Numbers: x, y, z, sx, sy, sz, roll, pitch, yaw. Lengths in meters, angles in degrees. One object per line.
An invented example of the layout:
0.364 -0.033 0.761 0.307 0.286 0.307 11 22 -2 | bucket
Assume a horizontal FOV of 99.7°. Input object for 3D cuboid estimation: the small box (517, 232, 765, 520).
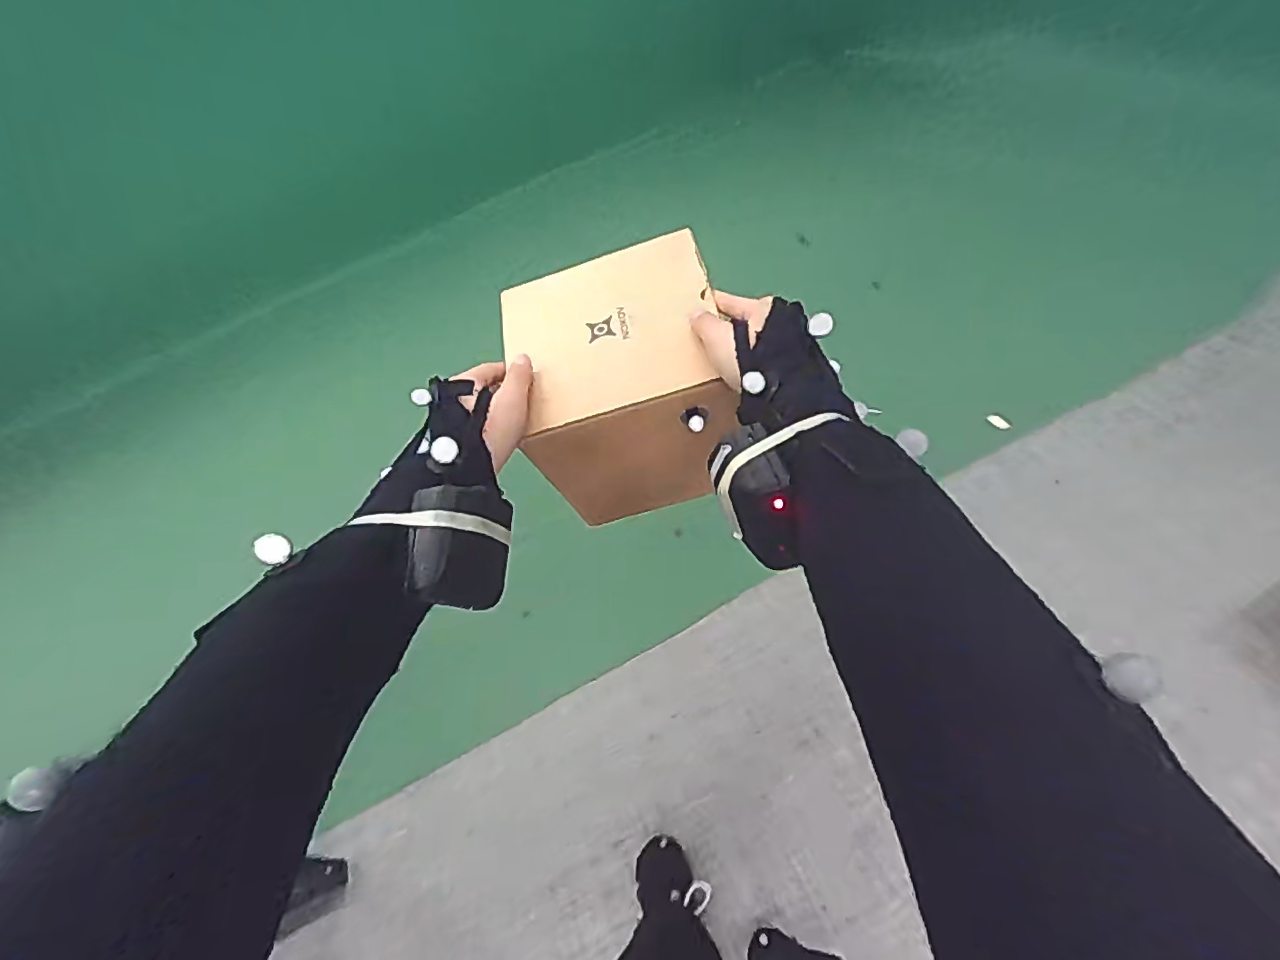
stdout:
0.005 -0.081 0.492 0.179 0.176 0.168 -15 58 8 | small box
